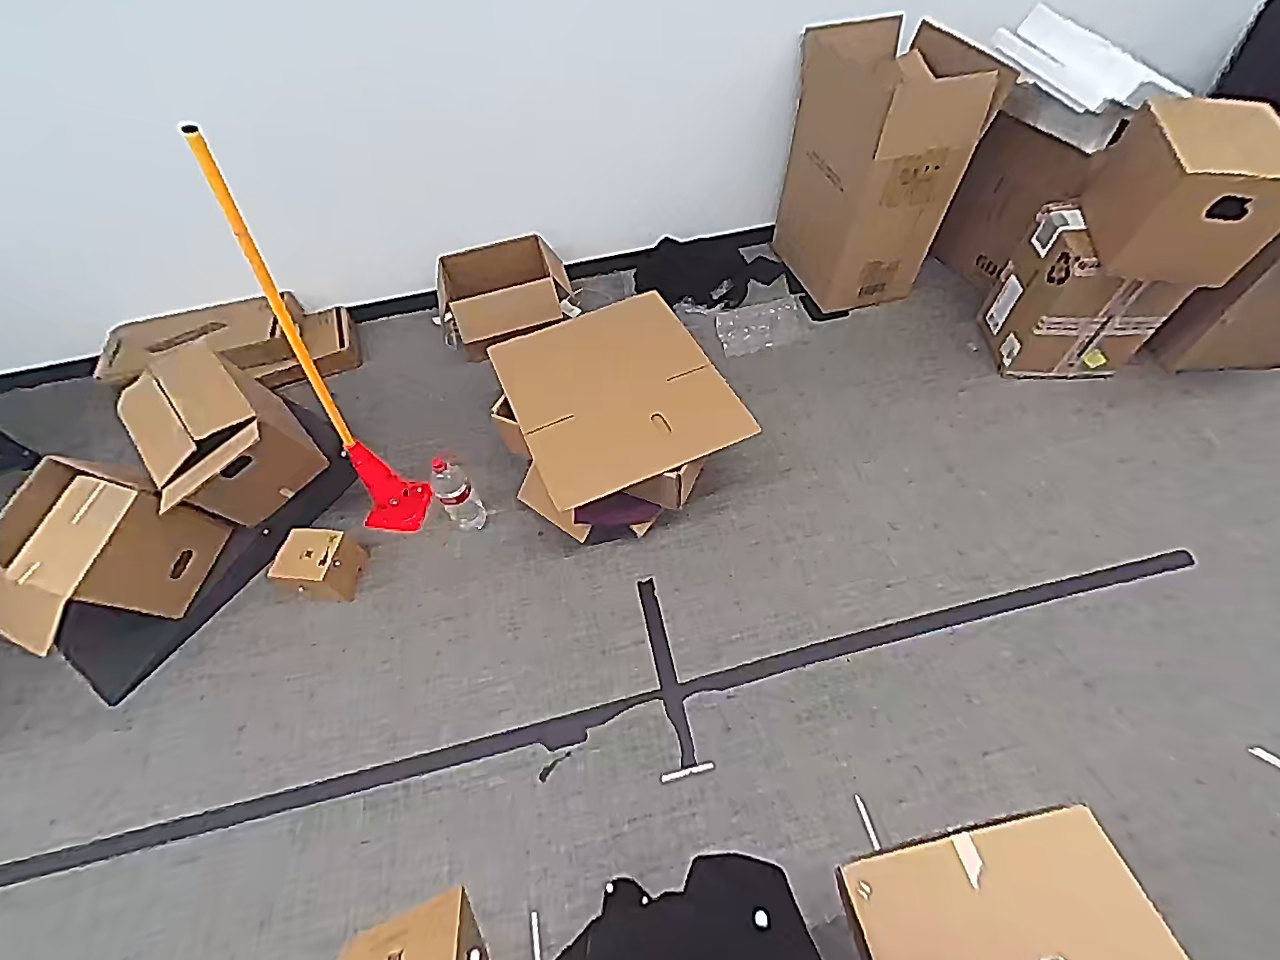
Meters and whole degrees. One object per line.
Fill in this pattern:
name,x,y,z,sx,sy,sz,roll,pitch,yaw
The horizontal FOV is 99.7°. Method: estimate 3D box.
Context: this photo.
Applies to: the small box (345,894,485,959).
small box,-0.286,0.706,0.694,0.168,0.179,0.176,-18,92,-14
